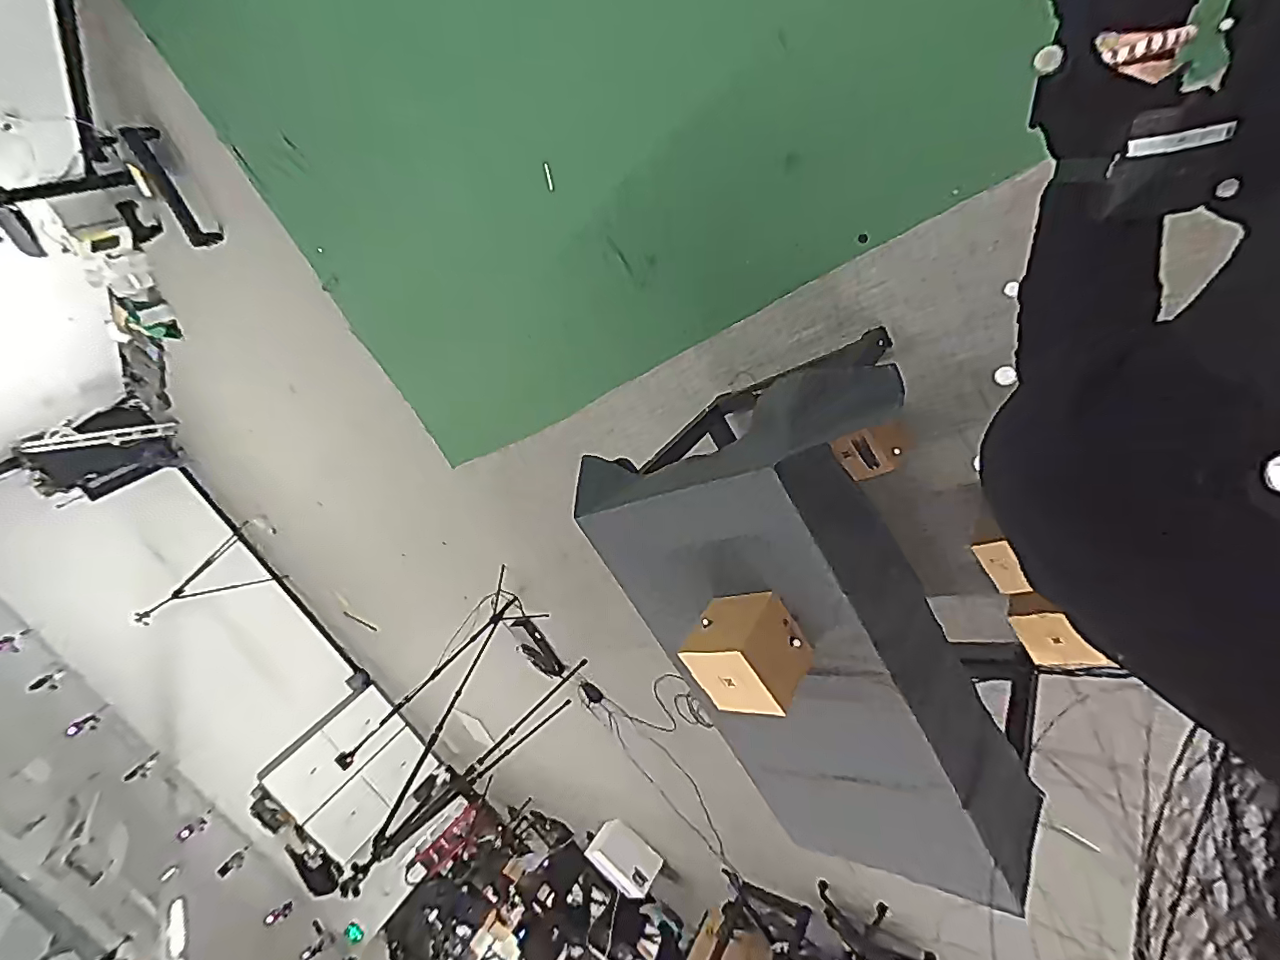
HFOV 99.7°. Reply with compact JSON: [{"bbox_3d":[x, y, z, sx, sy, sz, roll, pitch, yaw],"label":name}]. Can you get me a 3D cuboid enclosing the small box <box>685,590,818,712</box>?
[{"bbox_3d":[0.233,0.347,1.113,0.179,0.176,0.168,-22,108,49],"label":"small box"}]
